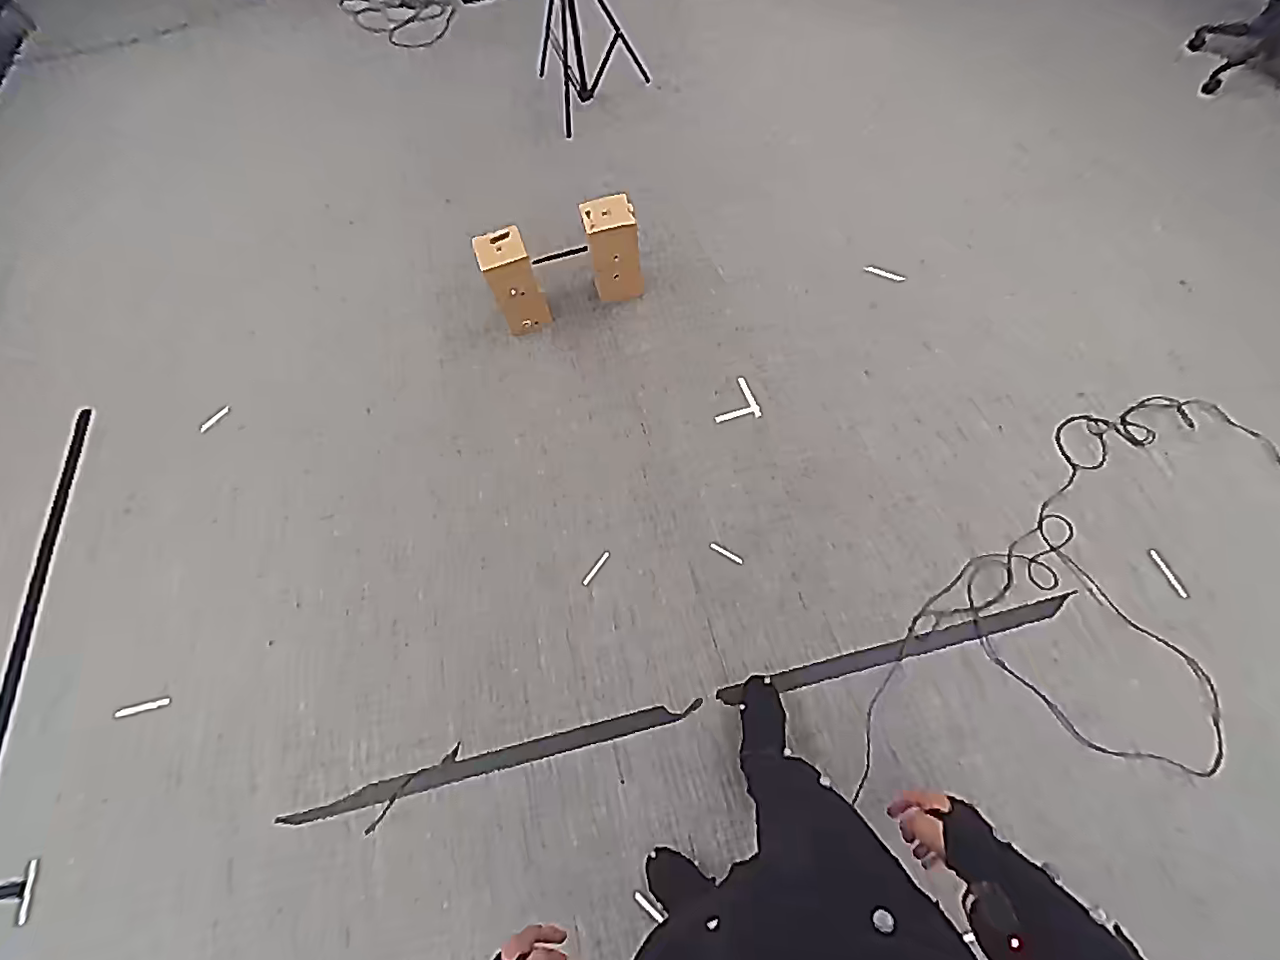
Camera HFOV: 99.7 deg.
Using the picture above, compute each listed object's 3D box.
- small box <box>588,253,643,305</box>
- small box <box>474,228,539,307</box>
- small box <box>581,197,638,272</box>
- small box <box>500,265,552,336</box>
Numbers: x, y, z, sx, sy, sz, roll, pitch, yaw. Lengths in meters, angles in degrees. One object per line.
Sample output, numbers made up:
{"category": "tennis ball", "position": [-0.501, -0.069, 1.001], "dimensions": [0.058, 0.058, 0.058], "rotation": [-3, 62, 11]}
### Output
{"category": "small box", "position": [-0.094, -0.810, 2.105], "dimensions": [0.179, 0.176, 0.168], "rotation": [-14, 63, -3]}
{"category": "small box", "position": [-0.474, -0.756, 1.929], "dimensions": [0.168, 0.176, 0.179], "rotation": [-20, 64, -4]}
{"category": "small box", "position": [-0.107, -0.885, 1.960], "dimensions": [0.179, 0.176, 0.168], "rotation": [-13, 62, -3]}
{"category": "small box", "position": [-0.454, -0.688, 2.077], "dimensions": [0.168, 0.176, 0.179], "rotation": [-21, 63, -5]}
